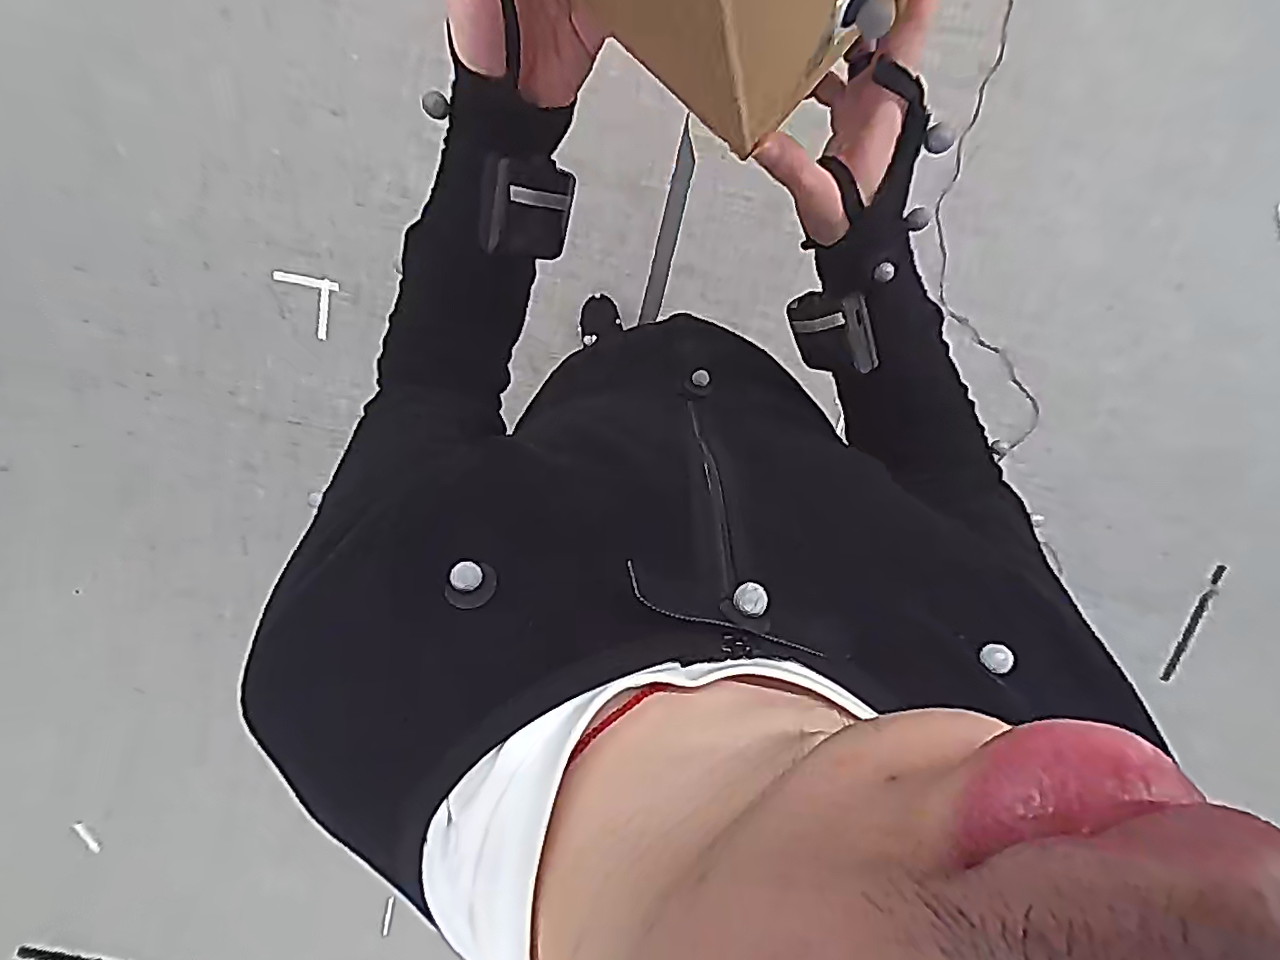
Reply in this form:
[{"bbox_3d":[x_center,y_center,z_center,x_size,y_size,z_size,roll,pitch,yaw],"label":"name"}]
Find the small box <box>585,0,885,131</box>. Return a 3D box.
[{"bbox_3d":[0.035,-0.284,0.207,0.179,0.176,0.168,44,108,4],"label":"small box"}]
